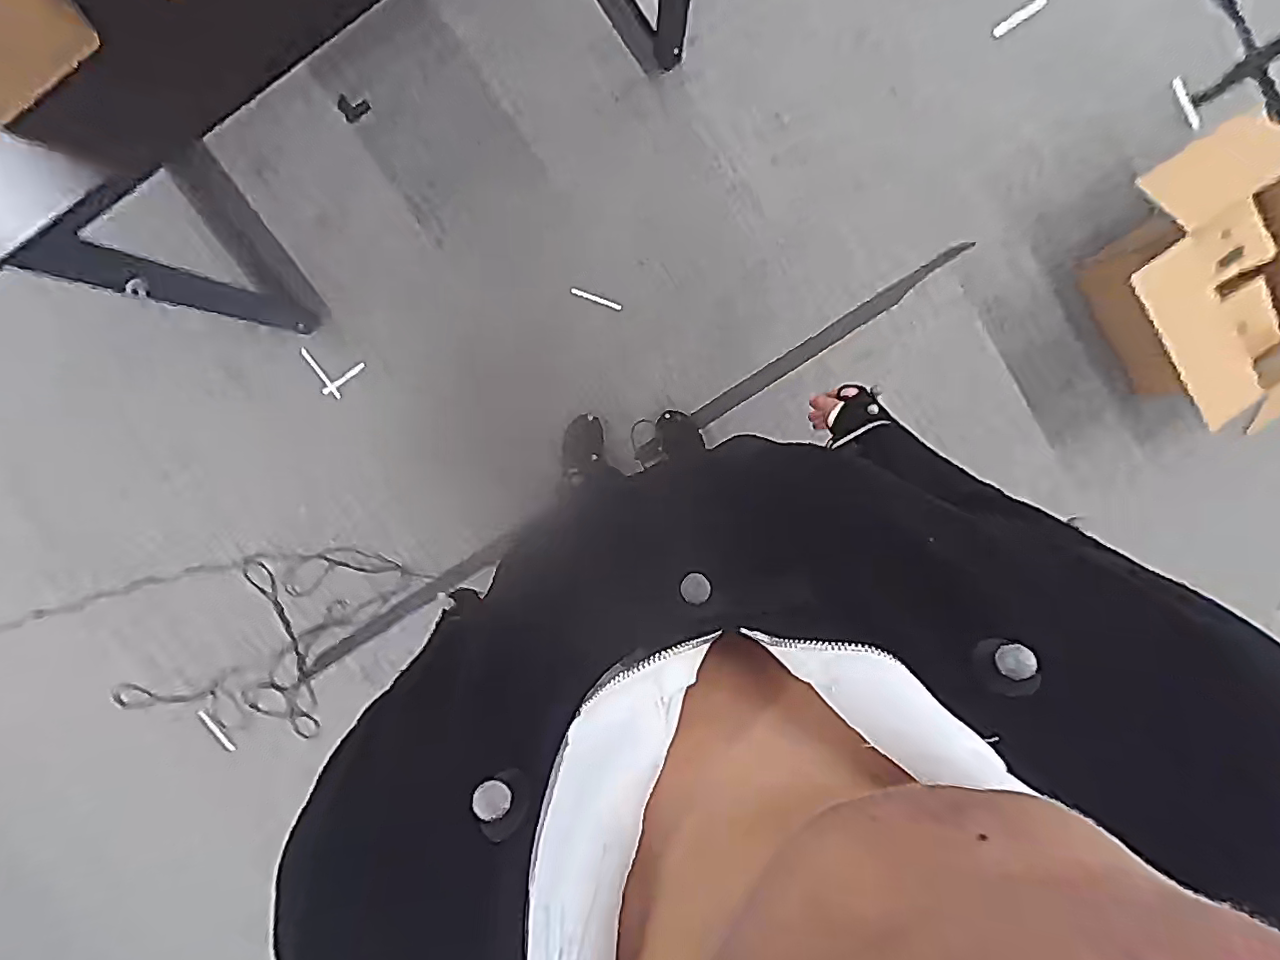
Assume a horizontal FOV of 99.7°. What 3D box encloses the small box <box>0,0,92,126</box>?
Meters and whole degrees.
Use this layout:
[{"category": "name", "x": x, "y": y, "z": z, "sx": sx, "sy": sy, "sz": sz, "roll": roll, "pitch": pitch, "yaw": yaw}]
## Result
[{"category": "small box", "x": -0.775, "y": -0.534, "z": 0.580, "sx": 0.179, "sy": 0.176, "sz": 0.168, "roll": -36, "pitch": 97, "yaw": 4}]
